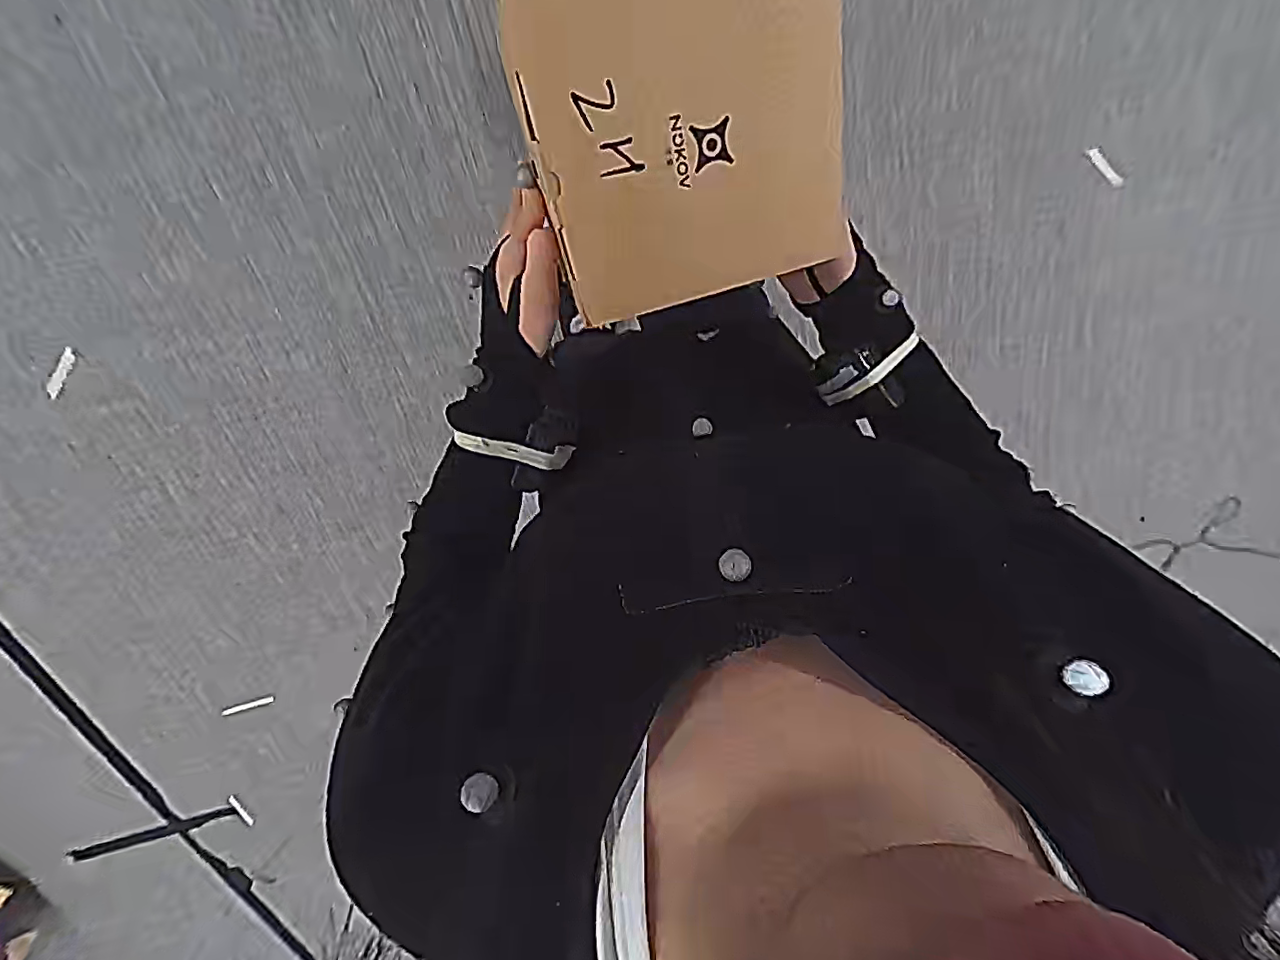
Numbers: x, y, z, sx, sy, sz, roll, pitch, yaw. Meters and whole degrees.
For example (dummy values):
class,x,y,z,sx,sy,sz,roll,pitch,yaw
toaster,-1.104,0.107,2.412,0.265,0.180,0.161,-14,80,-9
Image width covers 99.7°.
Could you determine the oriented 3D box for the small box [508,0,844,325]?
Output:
class,x,y,z,sx,sy,sz,roll,pitch,yaw
small box,0.017,-0.229,0.371,0.179,0.176,0.168,-17,123,-3
